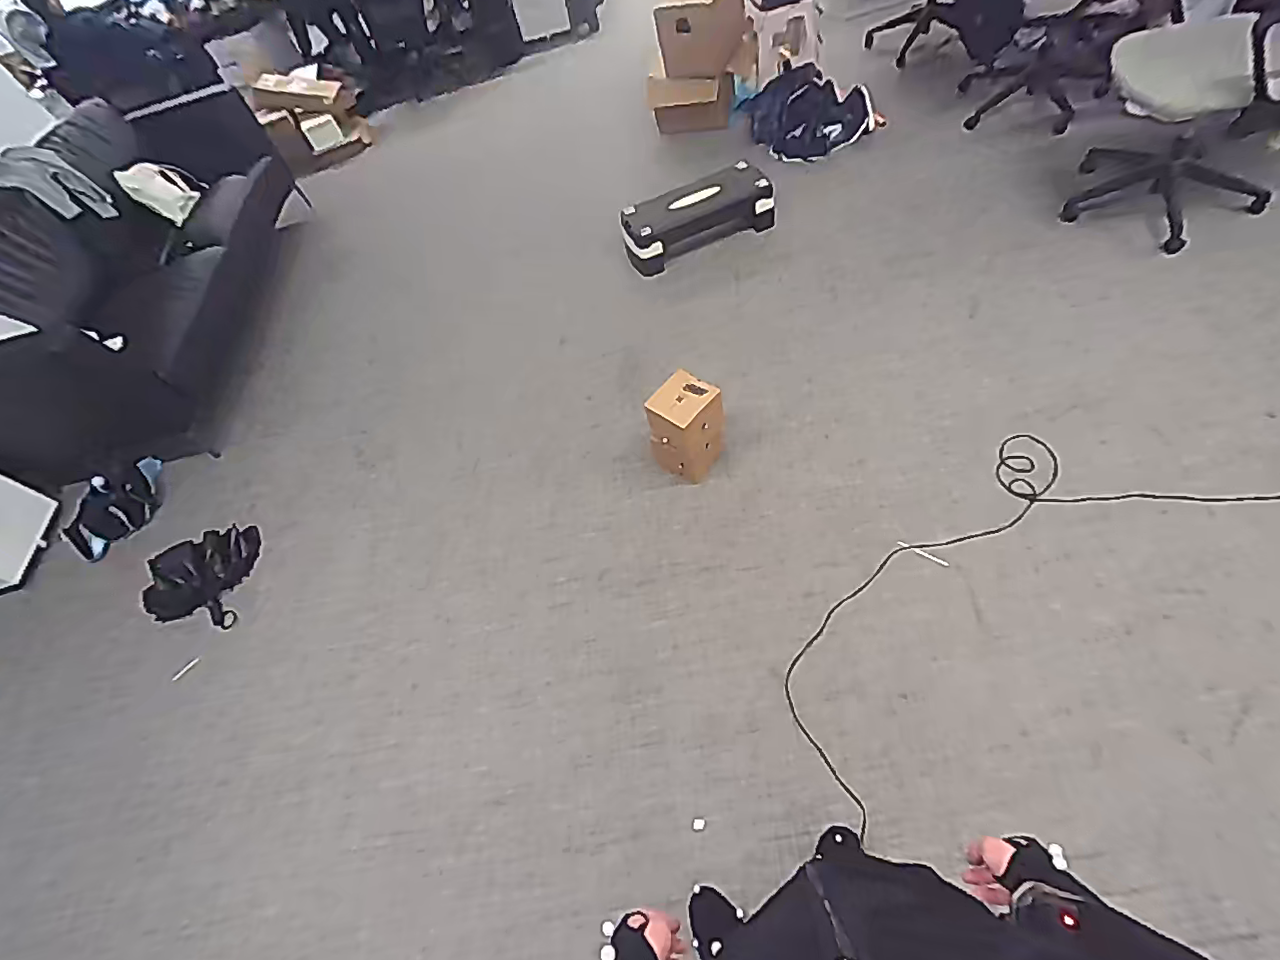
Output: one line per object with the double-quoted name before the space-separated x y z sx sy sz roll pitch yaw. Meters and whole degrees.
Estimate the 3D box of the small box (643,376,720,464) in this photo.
"small box" 0.137 -0.187 1.692 0.168 0.176 0.179 34 71 30

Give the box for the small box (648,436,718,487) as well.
"small box" 0.155 -0.106 1.835 0.168 0.176 0.179 26 65 26
